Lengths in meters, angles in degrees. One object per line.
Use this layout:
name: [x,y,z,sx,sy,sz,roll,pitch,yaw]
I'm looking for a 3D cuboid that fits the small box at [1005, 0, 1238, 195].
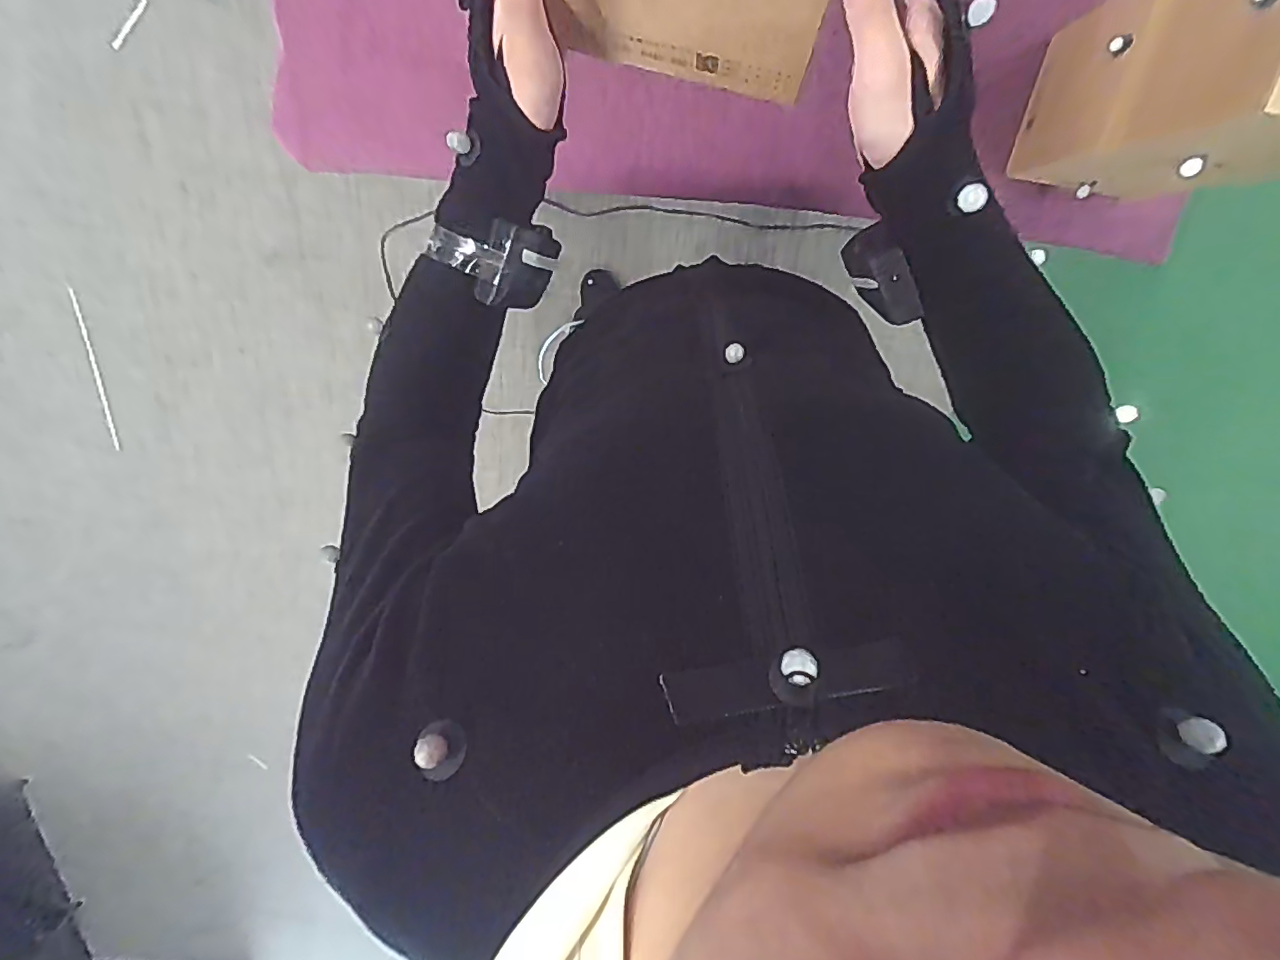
small box: [0.585,-0.444,0.631,0.179,0.176,0.168,9,110,-3]
